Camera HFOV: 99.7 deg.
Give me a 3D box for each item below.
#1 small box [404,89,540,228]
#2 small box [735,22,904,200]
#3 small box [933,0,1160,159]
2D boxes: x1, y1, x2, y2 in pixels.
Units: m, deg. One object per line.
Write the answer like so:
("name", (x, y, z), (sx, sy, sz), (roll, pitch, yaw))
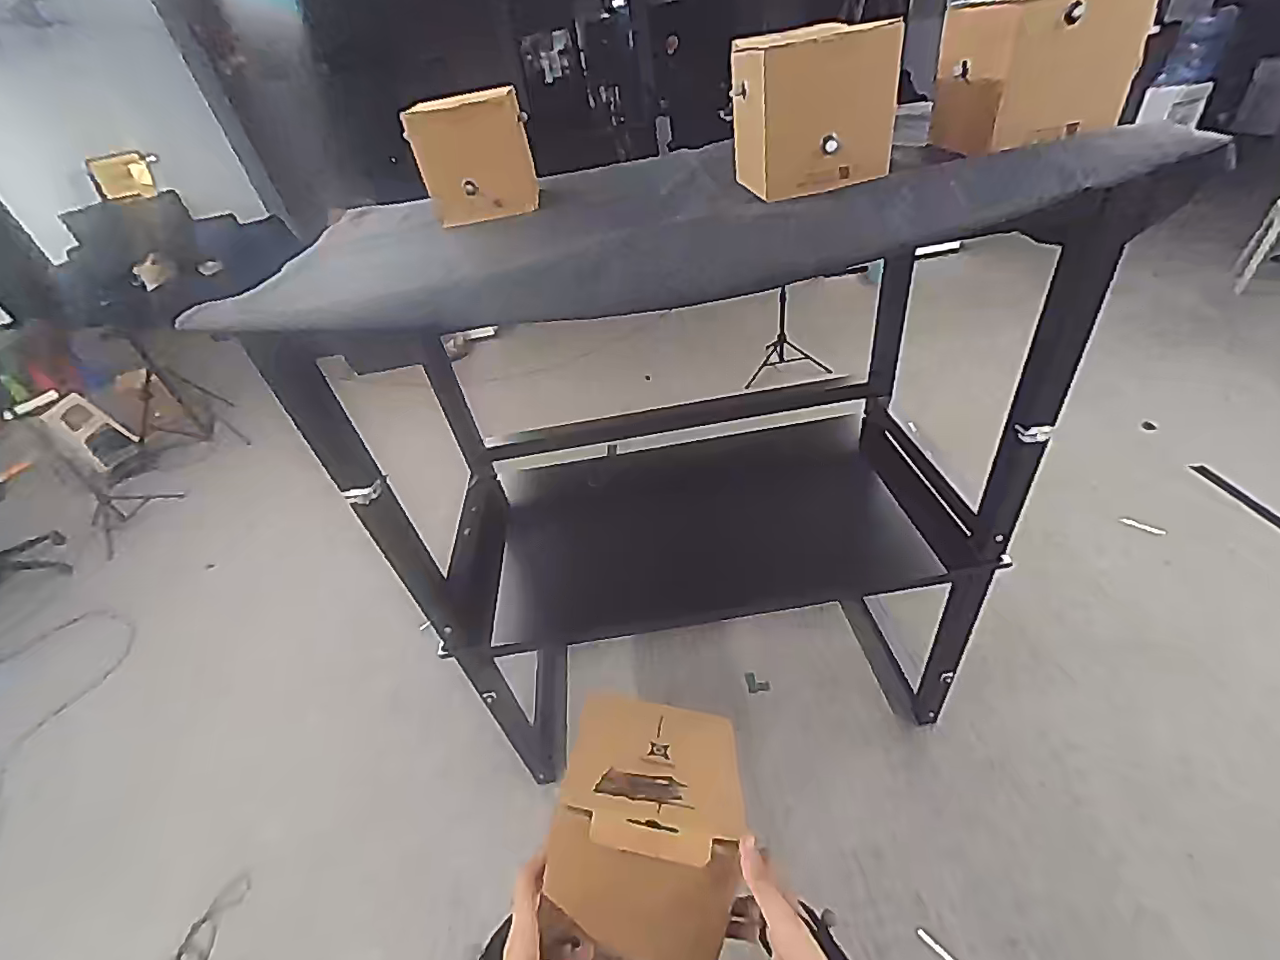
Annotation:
("small box", (-0.274, -0.550, 0.927), (0.168, 0.176, 0.179), (-11, 40, 0))
("small box", (0.230, -0.496, 0.737), (0.168, 0.176, 0.179), (-10, 38, 2))
("small box", (0.525, -0.548, 0.729), (0.168, 0.176, 0.179), (-10, 38, 3))
